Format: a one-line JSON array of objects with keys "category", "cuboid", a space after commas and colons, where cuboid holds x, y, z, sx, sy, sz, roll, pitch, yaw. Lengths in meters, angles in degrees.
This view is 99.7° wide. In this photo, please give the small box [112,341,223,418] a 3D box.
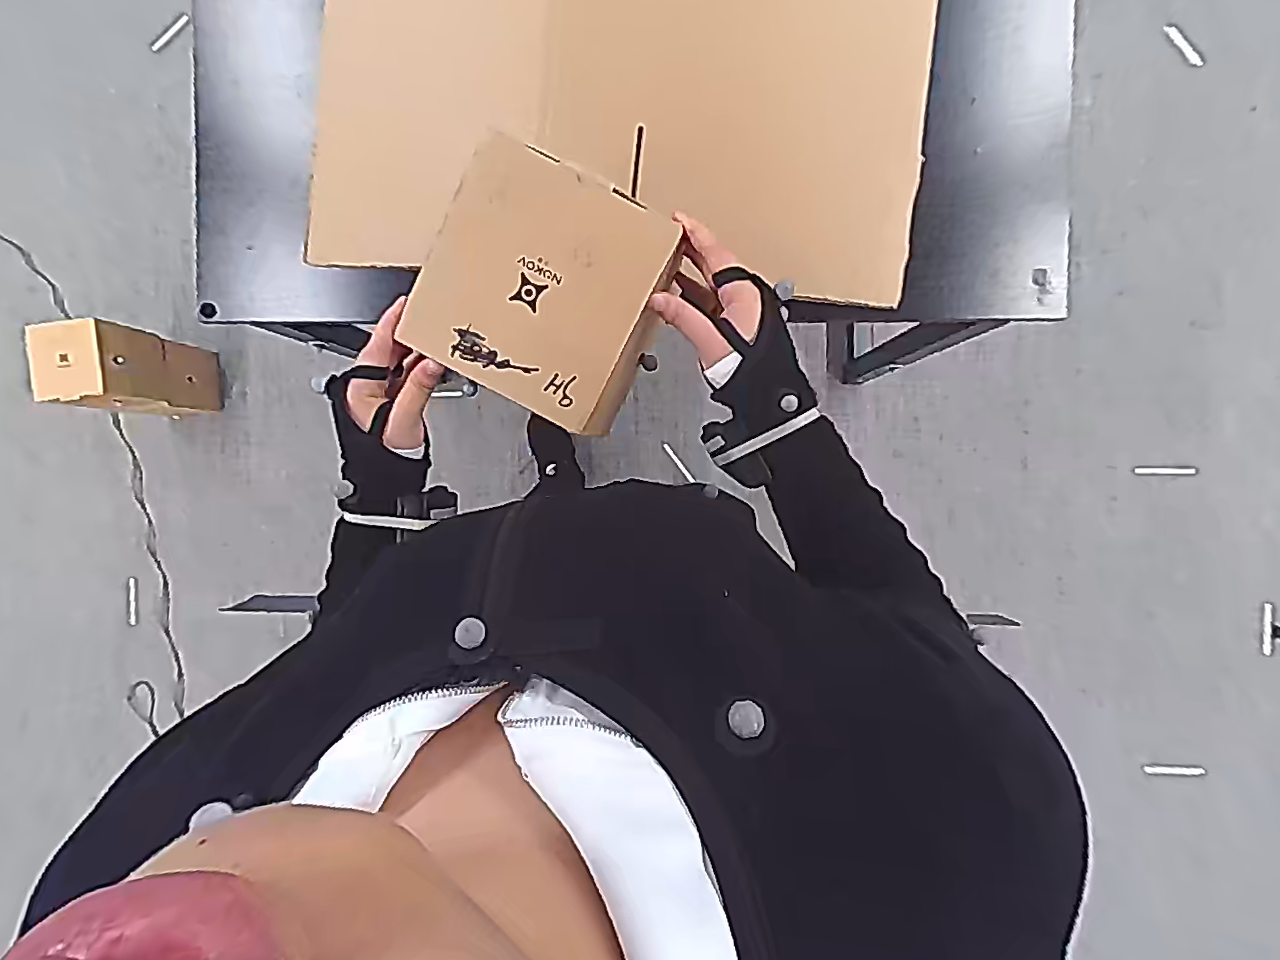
[{"category": "small box", "cuboid": [-1.272, -0.266, 1.458, 0.168, 0.176, 0.179, -3, 92, 3]}]

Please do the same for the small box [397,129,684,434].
[{"category": "small box", "cuboid": [-0.074, -0.155, 0.488, 0.168, 0.176, 0.179, 28, 94, 2]}]

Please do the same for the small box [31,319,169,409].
[{"category": "small box", "cuboid": [-1.281, -0.268, 1.296, 0.168, 0.176, 0.179, -7, 90, 2]}]
